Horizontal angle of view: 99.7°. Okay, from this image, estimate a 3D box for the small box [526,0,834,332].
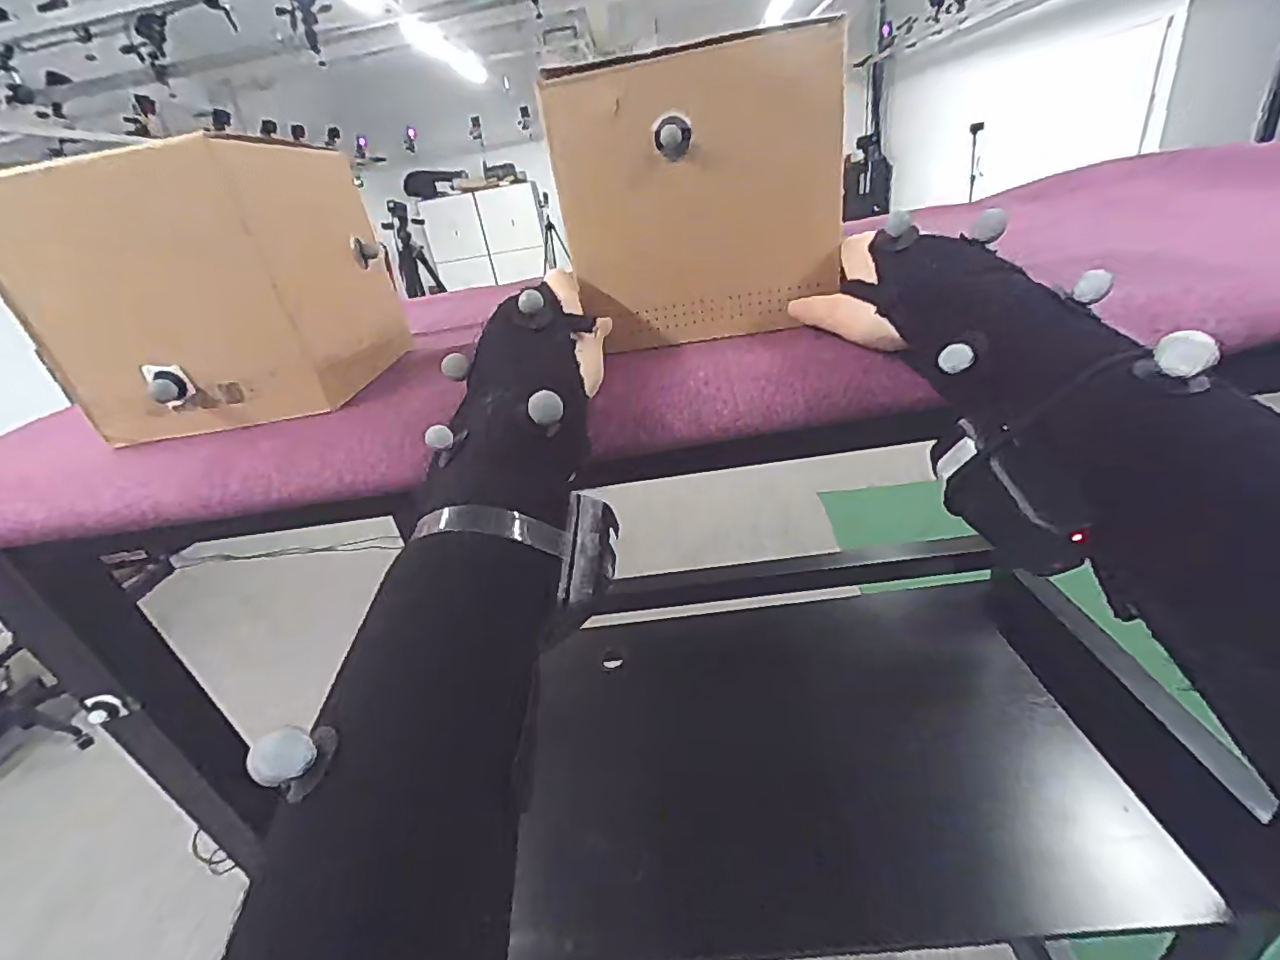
[{"bbox_3d":[0.037,-0.216,0.400,0.179,0.176,0.168,-6,29,7],"label":"small box"}]

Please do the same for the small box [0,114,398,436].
[{"bbox_3d":[-0.307,-0.150,0.401,0.168,0.176,0.179,-11,30,2],"label":"small box"}]
